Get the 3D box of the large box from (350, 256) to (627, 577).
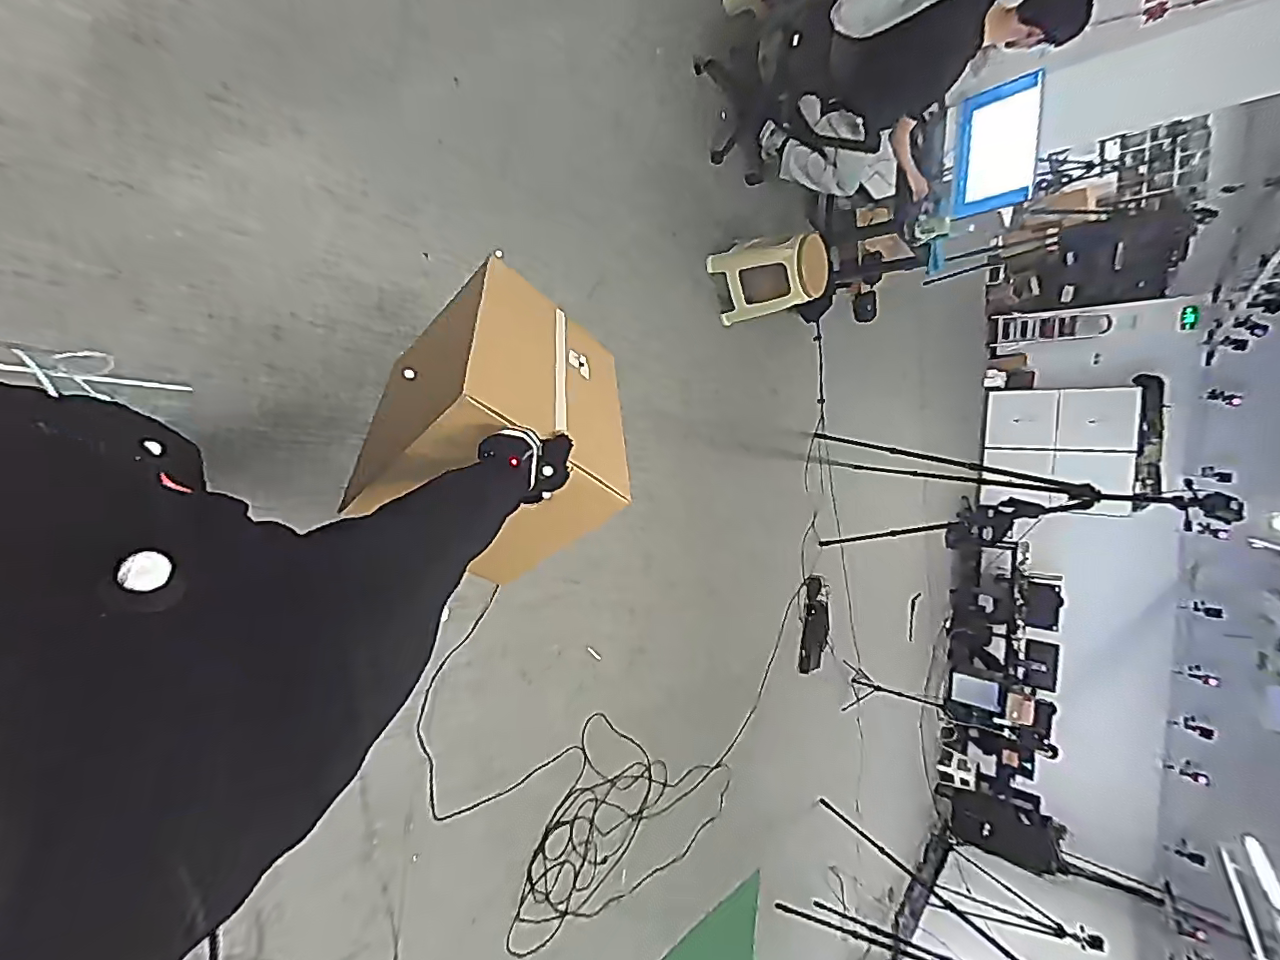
[{"bbox_3d":[-0.254,-0.103,0.963,0.320,0.320,0.408,35,31,-37],"label":"large box"}]
